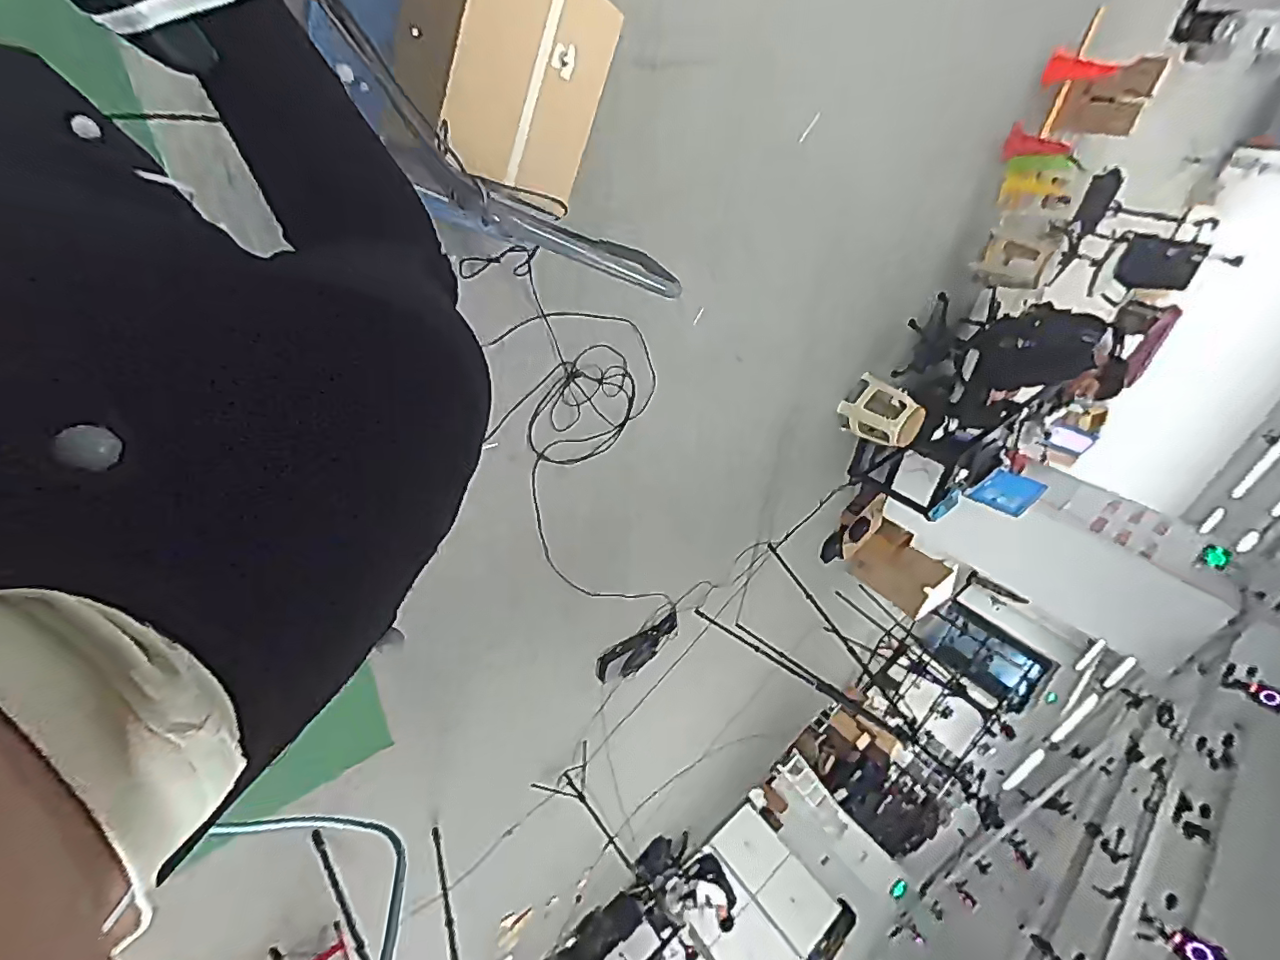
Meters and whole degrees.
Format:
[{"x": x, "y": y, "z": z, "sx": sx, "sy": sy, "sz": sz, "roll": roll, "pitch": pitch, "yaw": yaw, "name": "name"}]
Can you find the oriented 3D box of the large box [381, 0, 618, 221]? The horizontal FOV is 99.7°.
[{"x": -0.309, "y": -0.826, "z": 1.141, "sx": 0.320, "sy": 0.320, "sz": 0.408, "roll": 1, "pitch": 117, "yaw": -48, "name": "large box"}]
